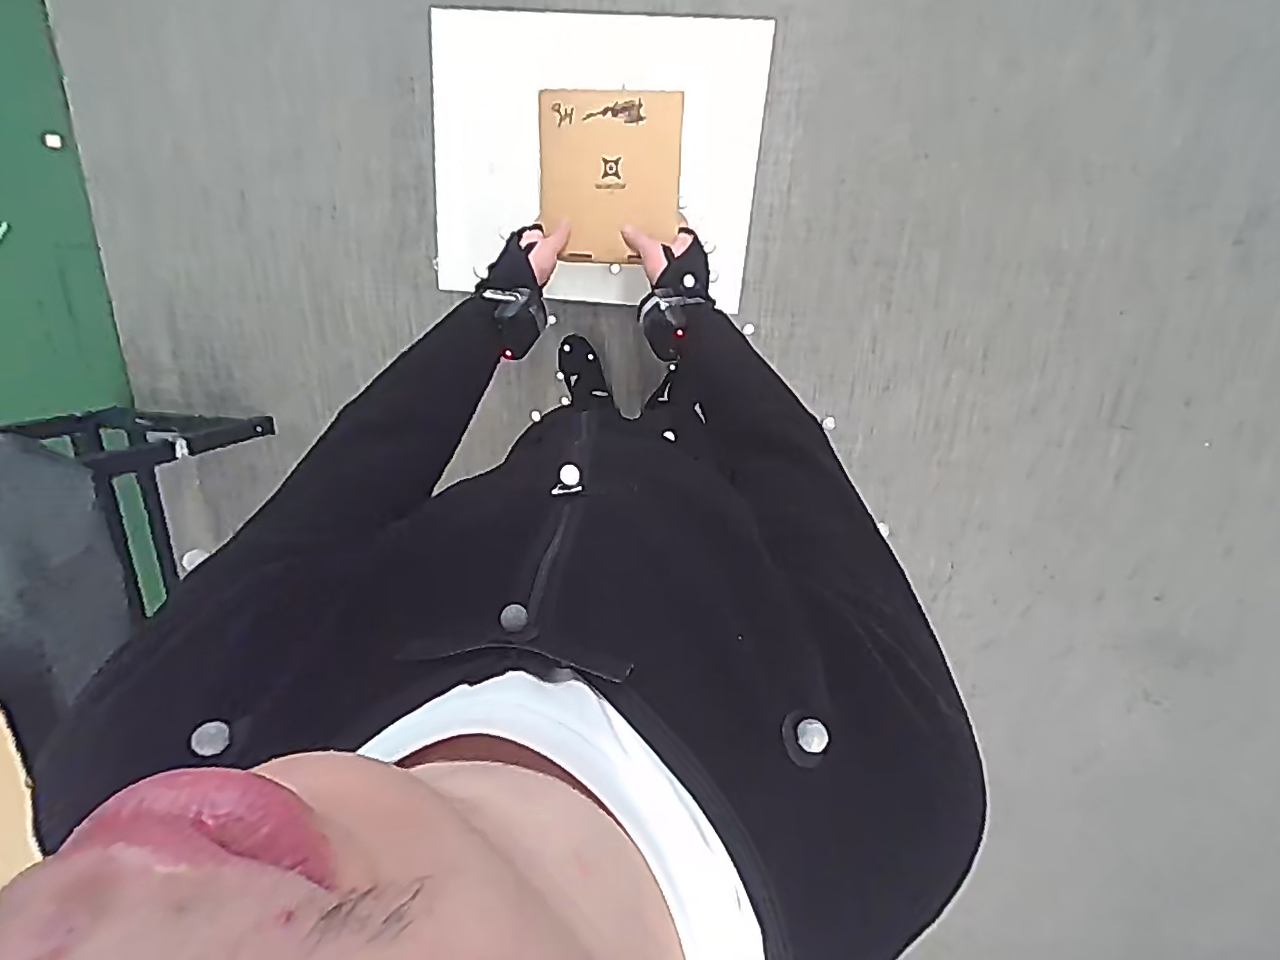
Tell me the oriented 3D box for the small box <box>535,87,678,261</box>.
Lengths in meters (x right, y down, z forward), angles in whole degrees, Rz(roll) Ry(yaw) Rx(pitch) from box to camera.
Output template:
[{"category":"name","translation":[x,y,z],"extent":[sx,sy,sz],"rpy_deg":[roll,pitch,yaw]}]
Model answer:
[{"category":"small box","translation":[-0.034,-0.384,0.709],"extent":[0.168,0.176,0.179],"rpy_deg":[0,109,2]}]
